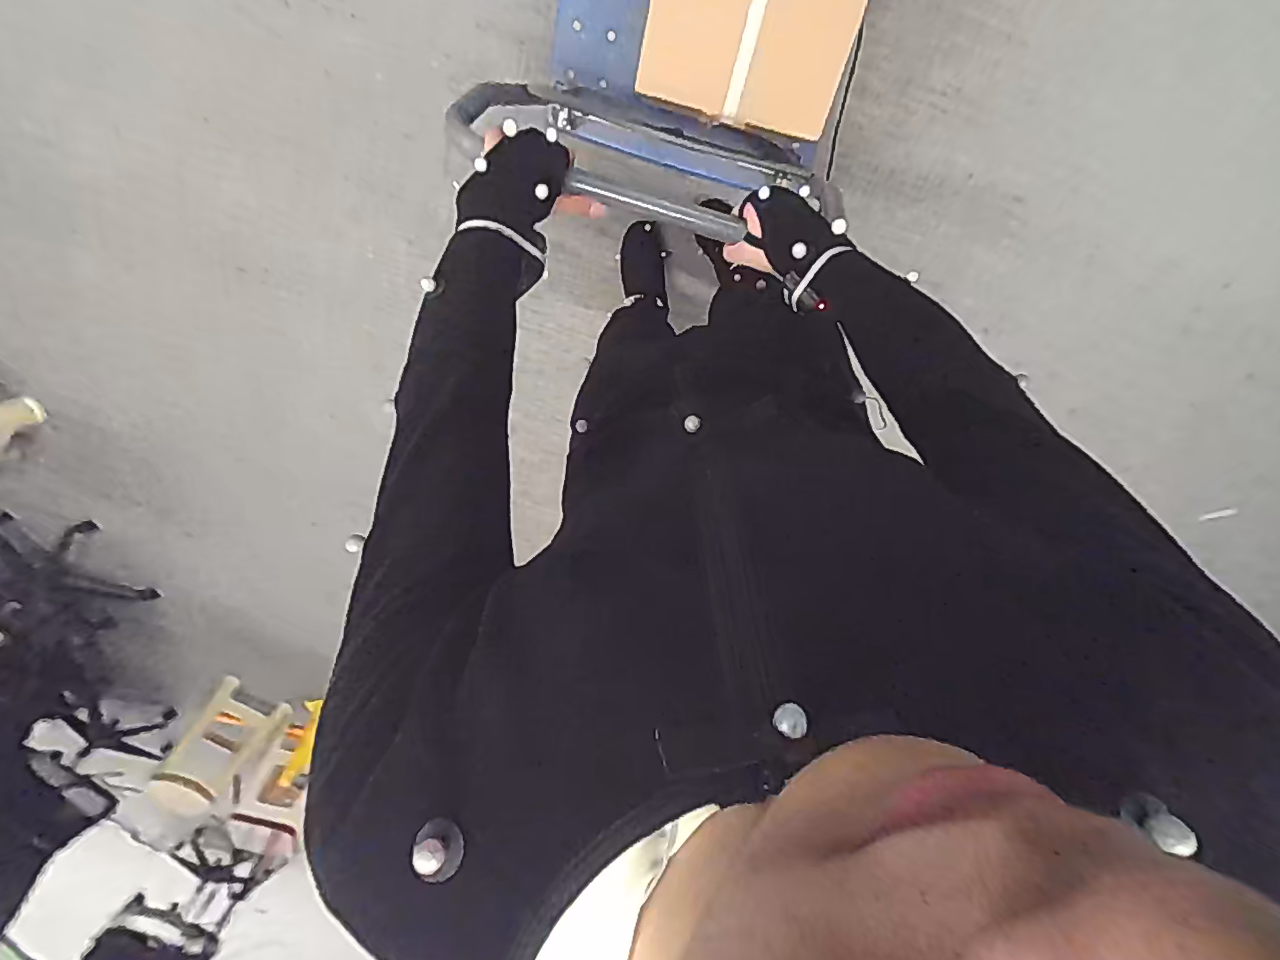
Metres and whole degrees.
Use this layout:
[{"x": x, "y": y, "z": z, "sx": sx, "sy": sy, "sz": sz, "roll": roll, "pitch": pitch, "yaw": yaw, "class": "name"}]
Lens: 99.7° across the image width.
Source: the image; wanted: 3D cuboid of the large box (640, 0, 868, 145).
[{"x": 0.202, "y": -0.825, "z": 0.902, "sx": 0.320, "sy": 0.320, "sz": 0.408, "roll": 14, "pitch": 121, "yaw": -3, "class": "large box"}]
